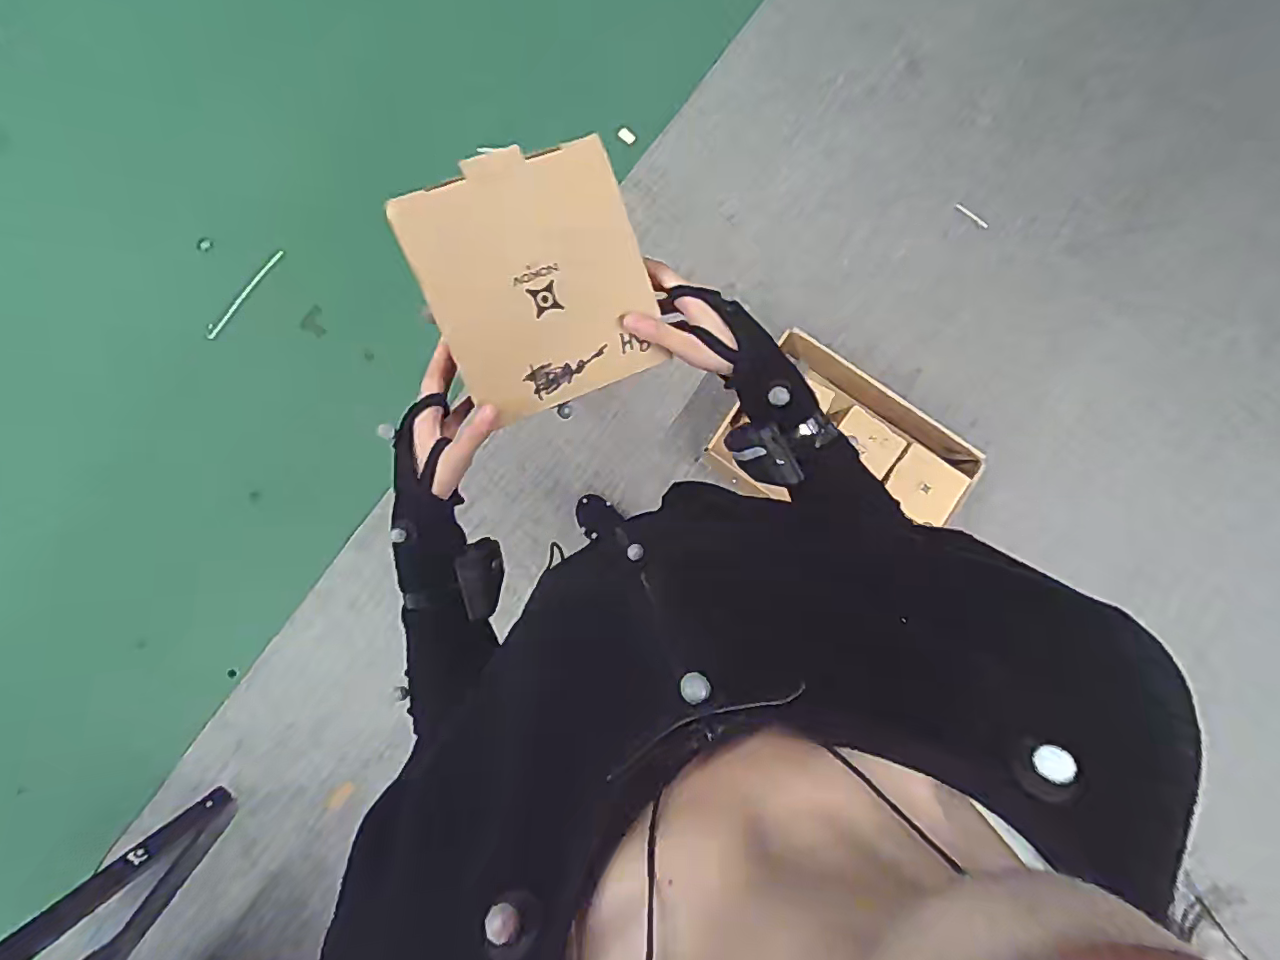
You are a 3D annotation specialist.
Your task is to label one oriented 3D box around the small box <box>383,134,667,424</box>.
[{"bbox_3d":[-0.099,-0.164,0.488,0.168,0.176,0.179,-24,105,-8],"label":"small box"}]
